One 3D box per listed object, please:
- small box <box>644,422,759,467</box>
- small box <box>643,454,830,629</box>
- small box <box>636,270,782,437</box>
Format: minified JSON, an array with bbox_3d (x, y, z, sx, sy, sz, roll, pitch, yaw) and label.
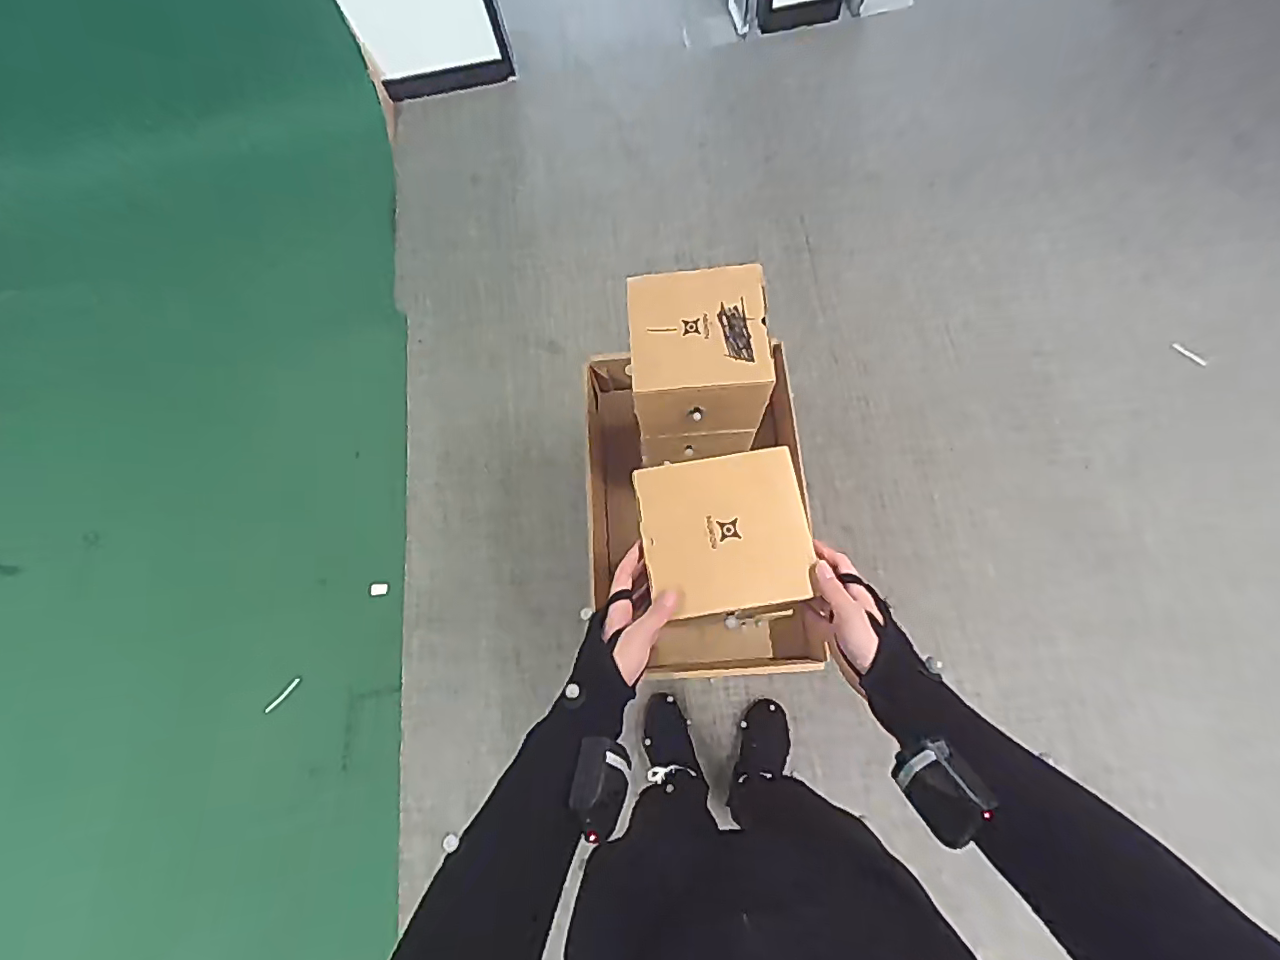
[{"bbox_3d":[0.099,-0.122,0.911,0.179,0.176,0.168,-3,75,4],"label":"small box"},{"bbox_3d":[0.101,0.082,0.644,0.179,0.176,0.168,-8,72,1],"label":"small box"},{"bbox_3d":[0.089,-0.166,0.752,0.179,0.176,0.168,-4,75,4],"label":"small box"}]
